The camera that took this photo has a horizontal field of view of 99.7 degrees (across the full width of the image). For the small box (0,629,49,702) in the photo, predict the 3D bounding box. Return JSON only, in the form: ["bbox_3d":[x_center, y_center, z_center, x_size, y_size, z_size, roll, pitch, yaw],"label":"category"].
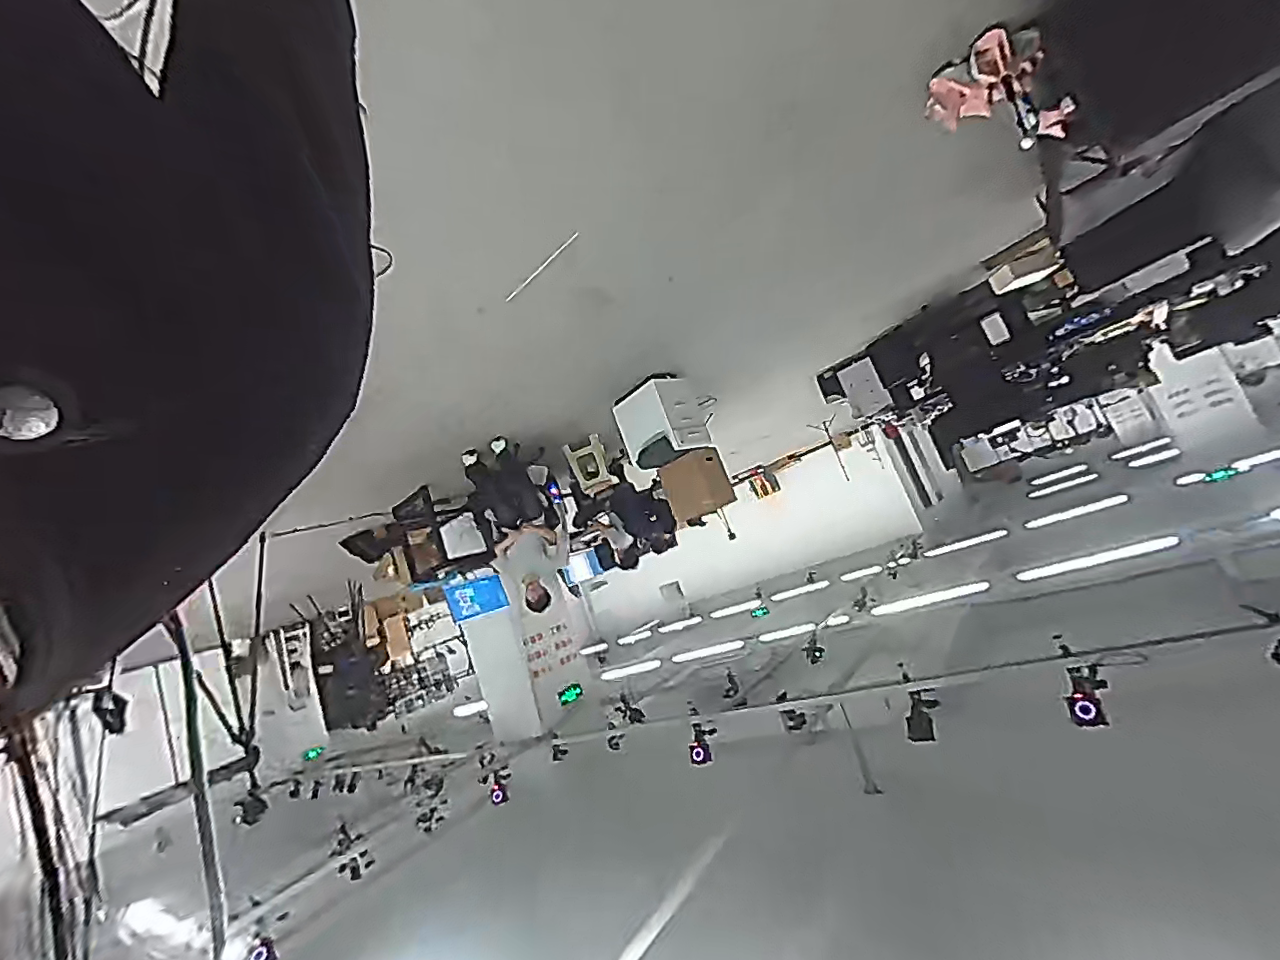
[{"bbox_3d":[-1.818,0.535,1.533,0.179,0.176,0.168,-26,168,35],"label":"small box"}]
